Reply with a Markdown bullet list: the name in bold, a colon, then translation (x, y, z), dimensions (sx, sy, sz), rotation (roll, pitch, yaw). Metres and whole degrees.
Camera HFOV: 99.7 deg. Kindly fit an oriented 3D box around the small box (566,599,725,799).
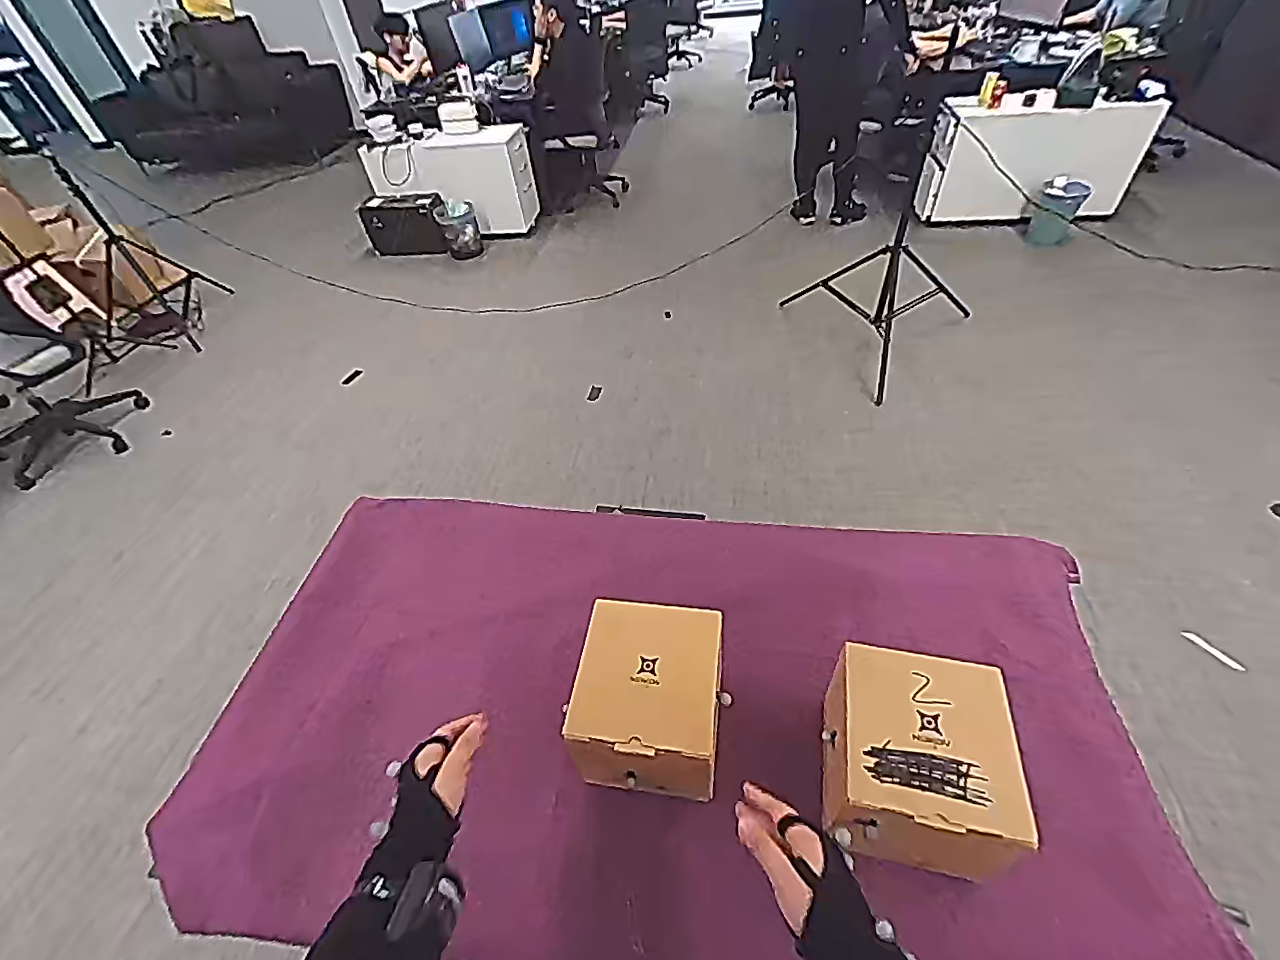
- **small box**: translation (0.017, 0.278, 0.691), dimensions (0.168, 0.176, 0.179), rotation (3, 47, 10)
